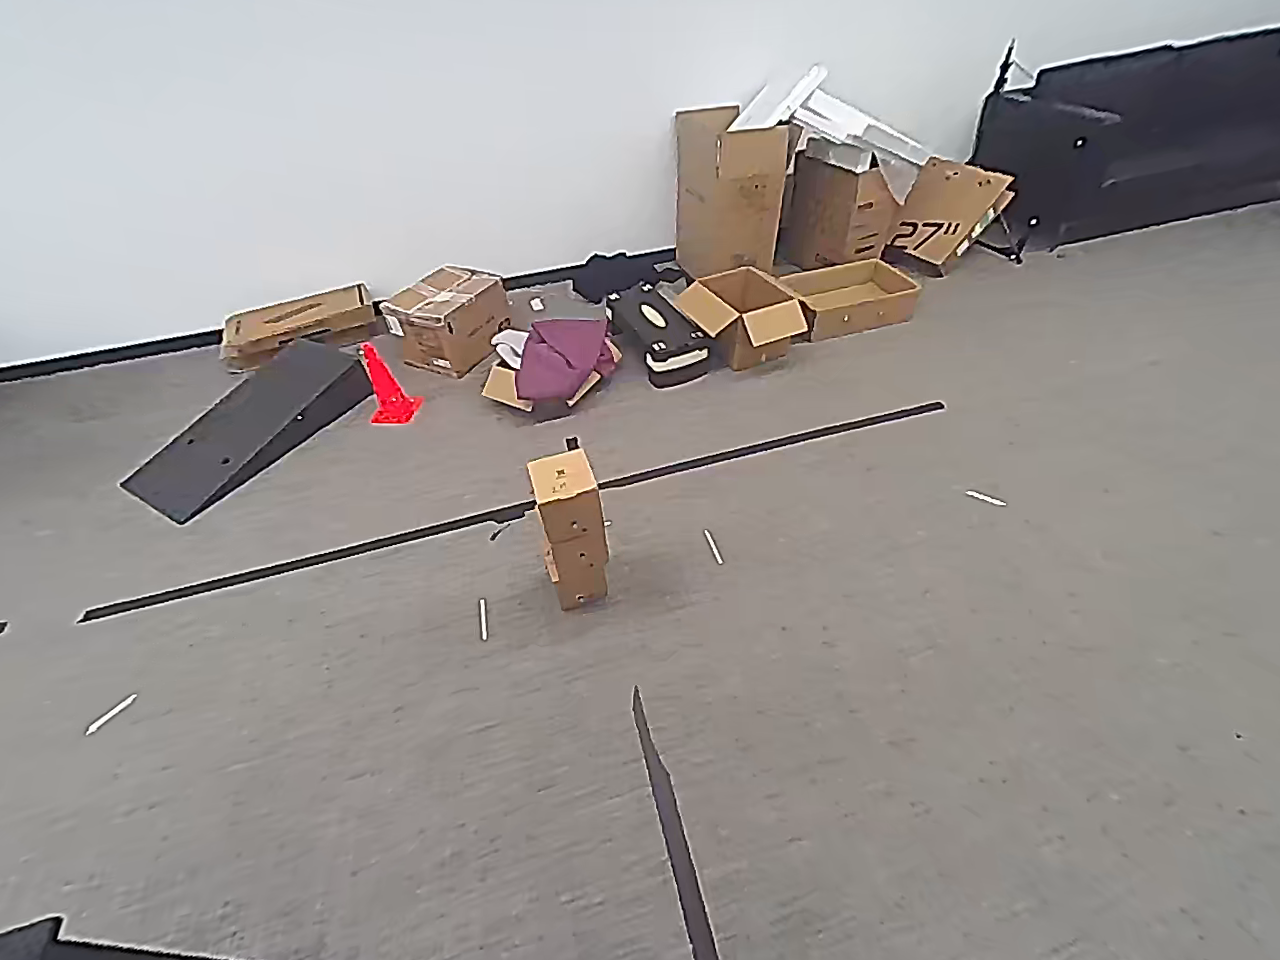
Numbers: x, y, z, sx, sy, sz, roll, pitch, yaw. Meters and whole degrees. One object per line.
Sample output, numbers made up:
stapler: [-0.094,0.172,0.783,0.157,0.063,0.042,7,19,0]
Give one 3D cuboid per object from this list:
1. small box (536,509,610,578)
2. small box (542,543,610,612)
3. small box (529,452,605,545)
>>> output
small box: [-0.199,0.176,1.641,0.168,0.176,0.179,-19,46,-13]
small box: [-0.206,0.296,1.754,0.168,0.176,0.179,-19,47,-12]
small box: [-0.205,0.053,1.529,0.168,0.176,0.179,-16,45,-9]
